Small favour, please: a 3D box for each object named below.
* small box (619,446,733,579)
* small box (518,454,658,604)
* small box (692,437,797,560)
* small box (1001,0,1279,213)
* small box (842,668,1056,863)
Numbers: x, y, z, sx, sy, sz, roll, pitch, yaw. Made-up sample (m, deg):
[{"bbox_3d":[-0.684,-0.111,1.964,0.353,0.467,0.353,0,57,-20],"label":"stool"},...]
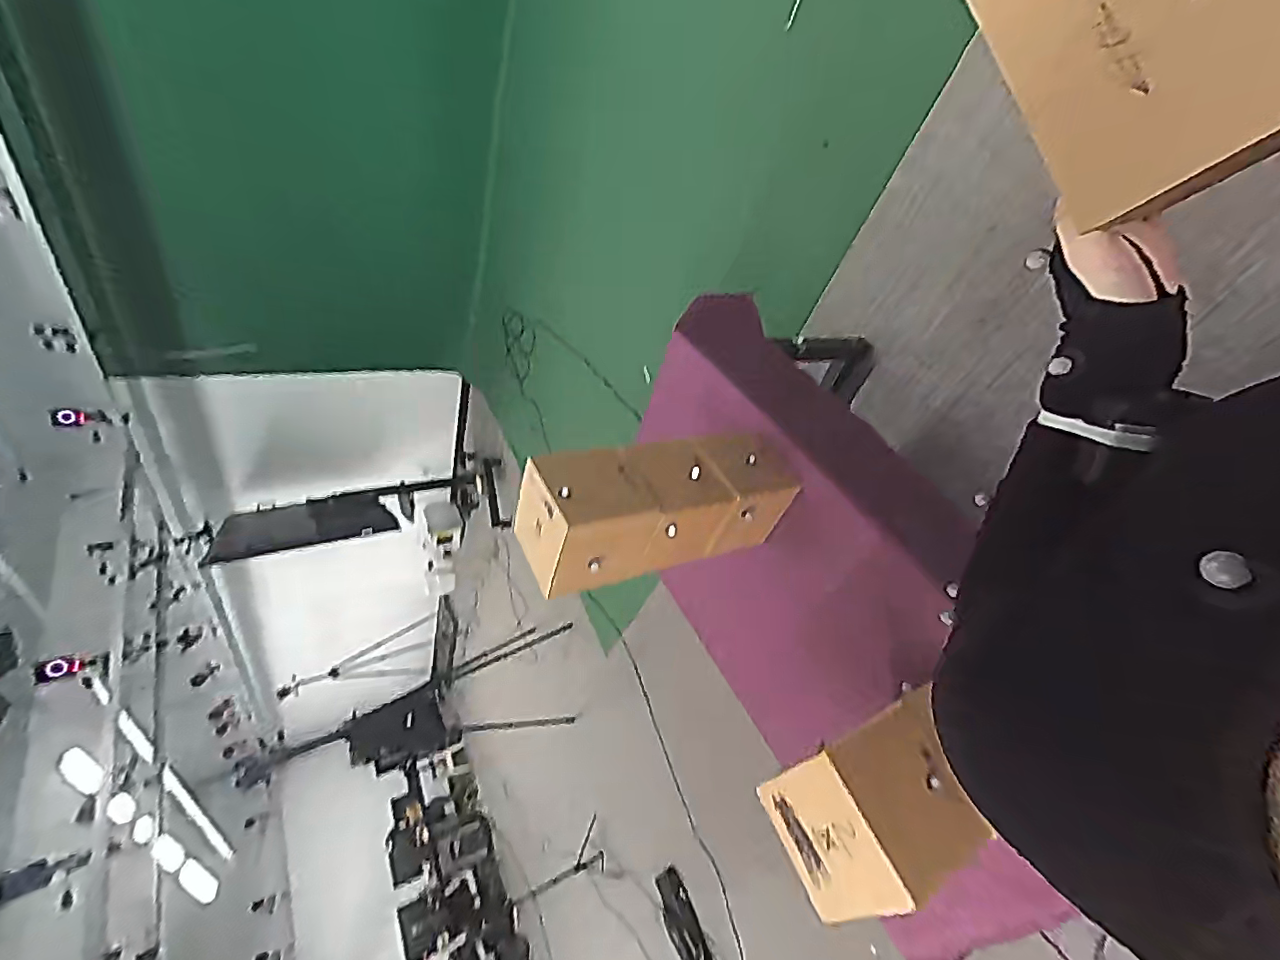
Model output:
[{"bbox_3d":[0.045,0.055,1.007,0.168,0.176,0.179,55,139,33],"label":"small box"},{"bbox_3d":[-0.091,0.076,0.915,0.168,0.176,0.179,52,138,36],"label":"small box"},{"bbox_3d":[0.185,0.031,1.087,0.168,0.176,0.179,56,140,34],"label":"small box"},{"bbox_3d":[0.321,-0.264,0.264,0.179,0.176,0.168,-25,88,59],"label":"small box"},{"bbox_3d":[0.445,0.407,0.786,0.179,0.176,0.168,58,141,32],"label":"small box"}]
